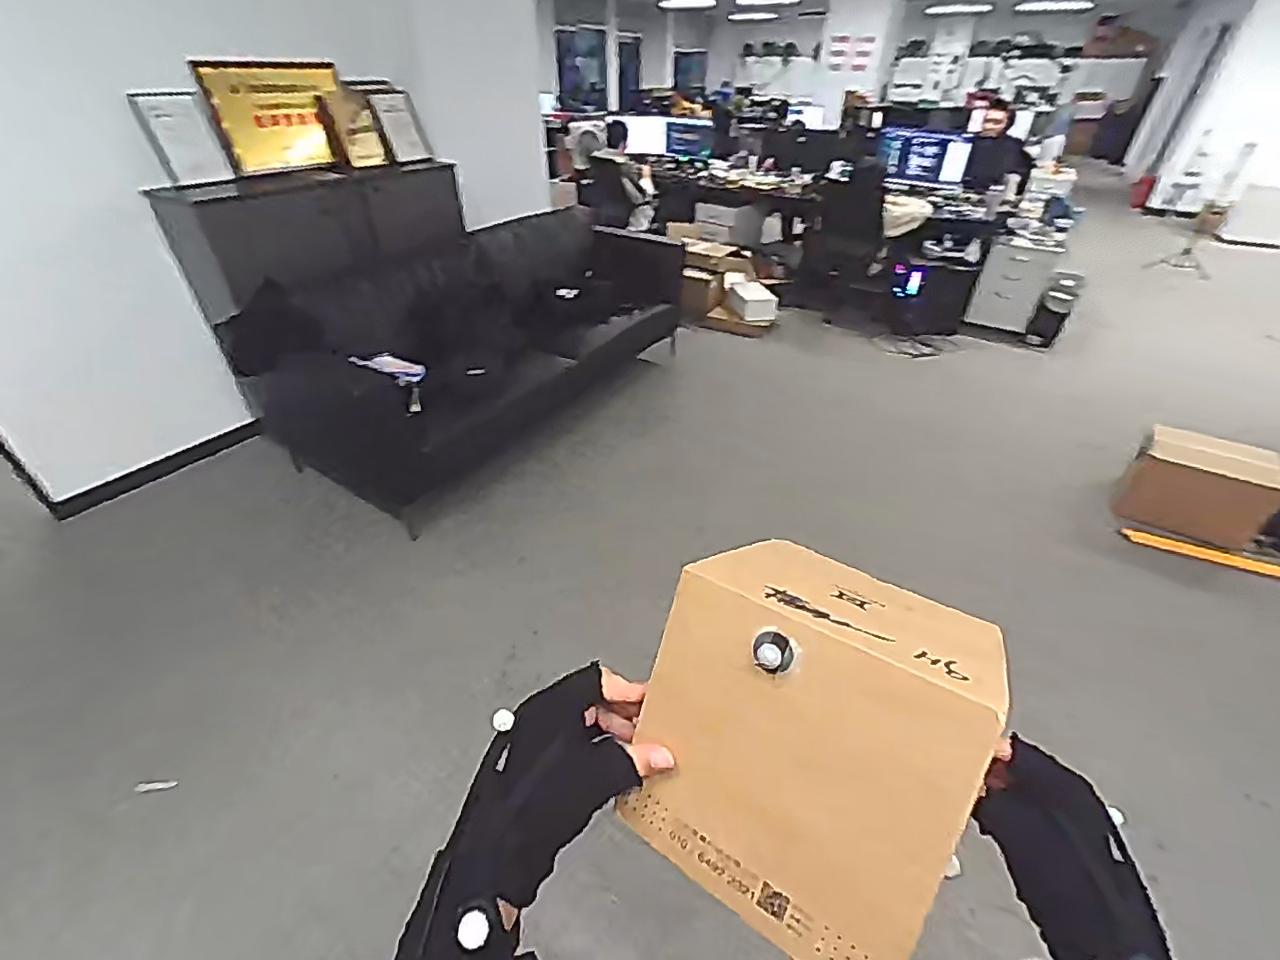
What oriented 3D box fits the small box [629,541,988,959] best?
[{"bbox_3d":[0.113,0.153,0.363,0.168,0.176,0.179,19,9,31],"label":"small box"}]
